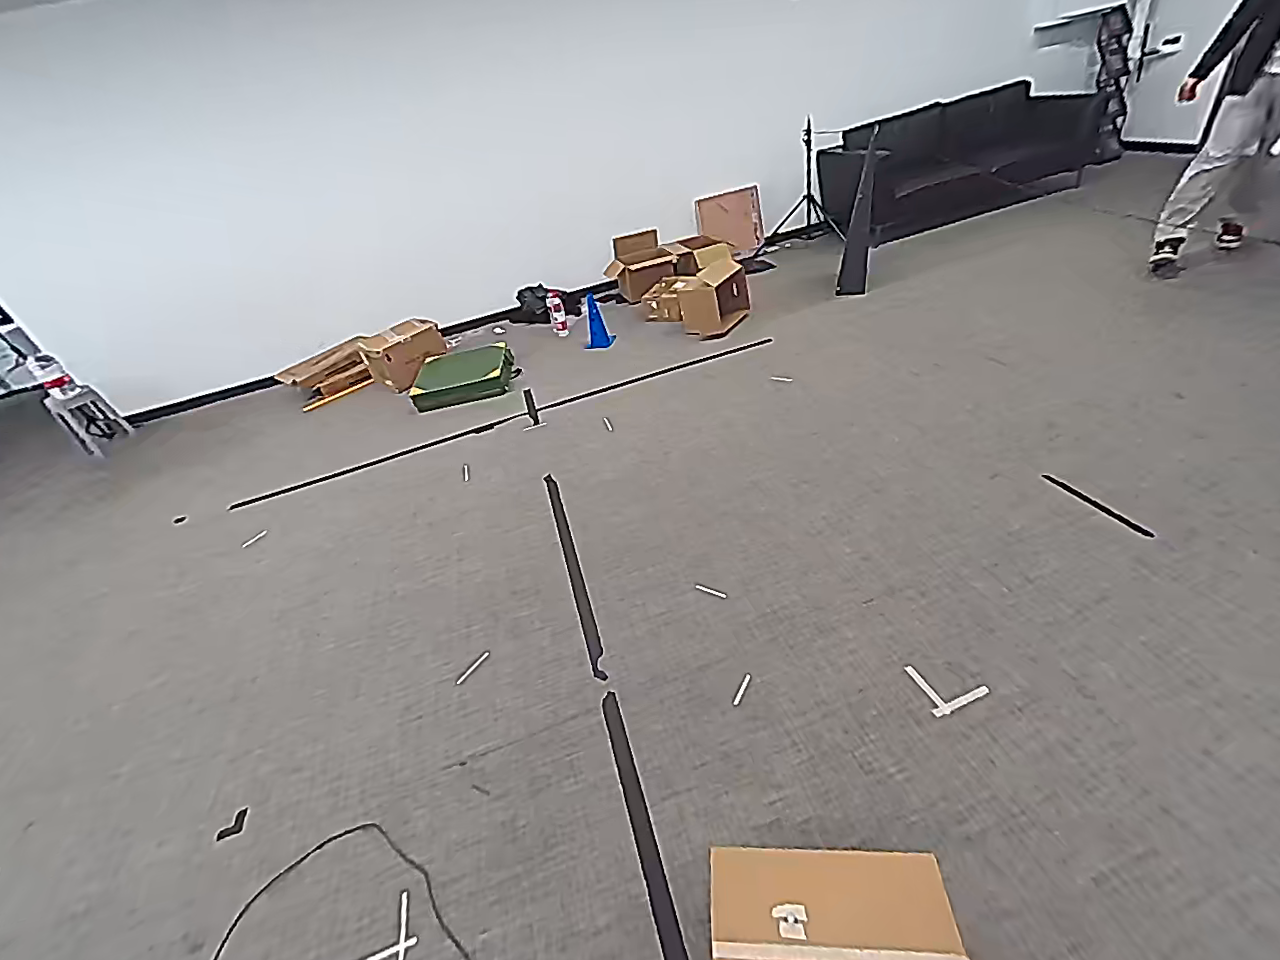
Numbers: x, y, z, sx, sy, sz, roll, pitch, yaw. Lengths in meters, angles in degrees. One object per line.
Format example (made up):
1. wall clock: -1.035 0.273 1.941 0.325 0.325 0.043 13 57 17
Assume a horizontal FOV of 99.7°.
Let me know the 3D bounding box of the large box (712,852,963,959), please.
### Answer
1. large box: 0.354 0.910 0.979 0.408 0.320 0.320 -6 35 11
